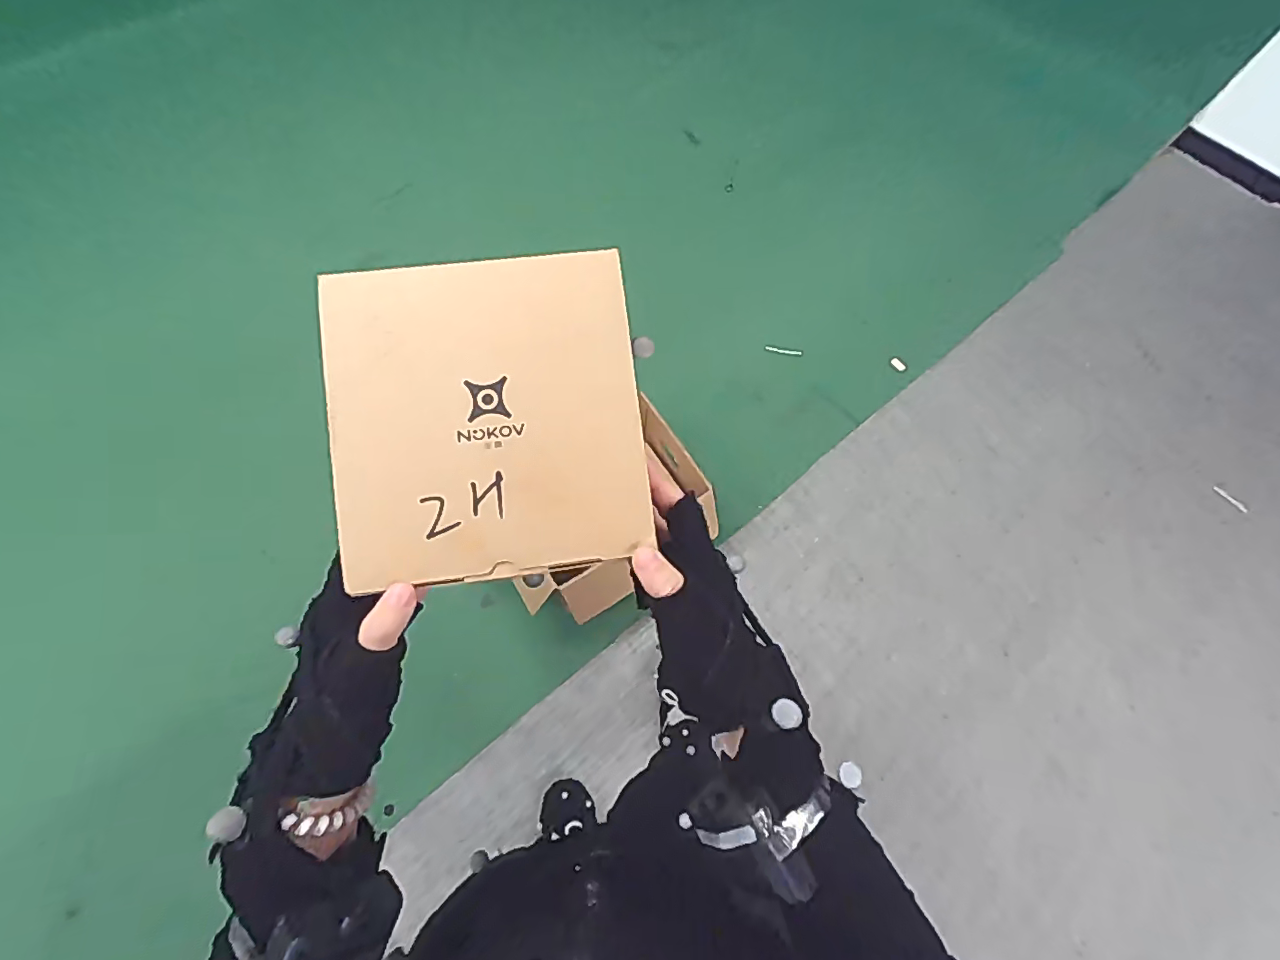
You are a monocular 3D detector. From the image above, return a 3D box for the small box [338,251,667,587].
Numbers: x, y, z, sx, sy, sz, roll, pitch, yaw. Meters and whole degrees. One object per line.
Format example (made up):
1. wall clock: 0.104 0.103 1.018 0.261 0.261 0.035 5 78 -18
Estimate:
1. small box: -0.081 -0.030 0.373 0.168 0.176 0.179 -7 86 -4
